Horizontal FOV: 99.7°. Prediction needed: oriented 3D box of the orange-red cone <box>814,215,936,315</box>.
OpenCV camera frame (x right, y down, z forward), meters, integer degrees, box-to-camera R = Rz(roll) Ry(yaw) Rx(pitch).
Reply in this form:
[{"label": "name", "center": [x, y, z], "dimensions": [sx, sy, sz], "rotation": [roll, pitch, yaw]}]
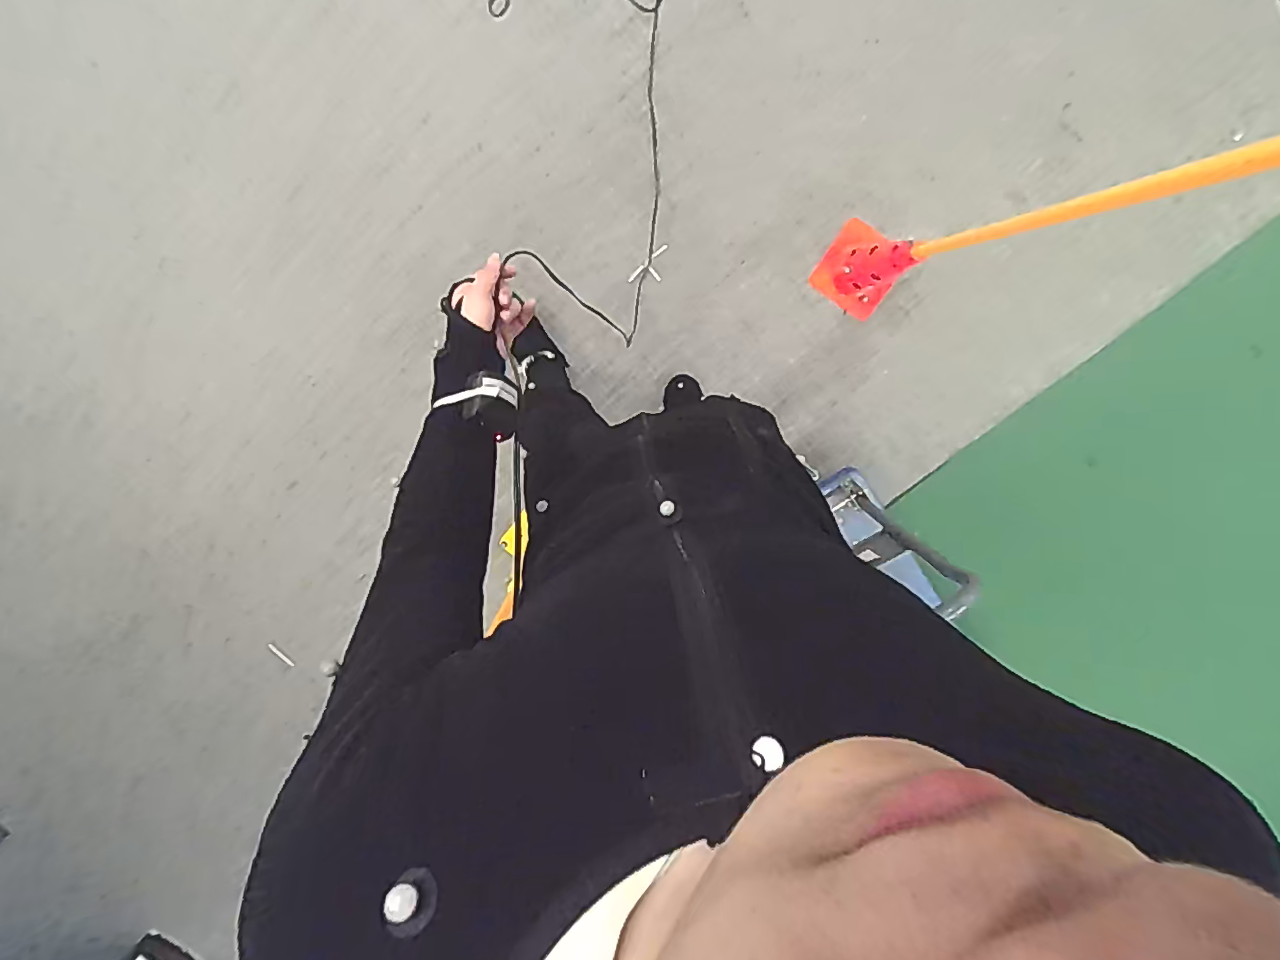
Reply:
[{"label": "orange-red cone", "center": [0.587, -0.525, 1.273], "dimensions": [0.198, 0.360, 0.199], "rotation": [33, 102, -9]}]
